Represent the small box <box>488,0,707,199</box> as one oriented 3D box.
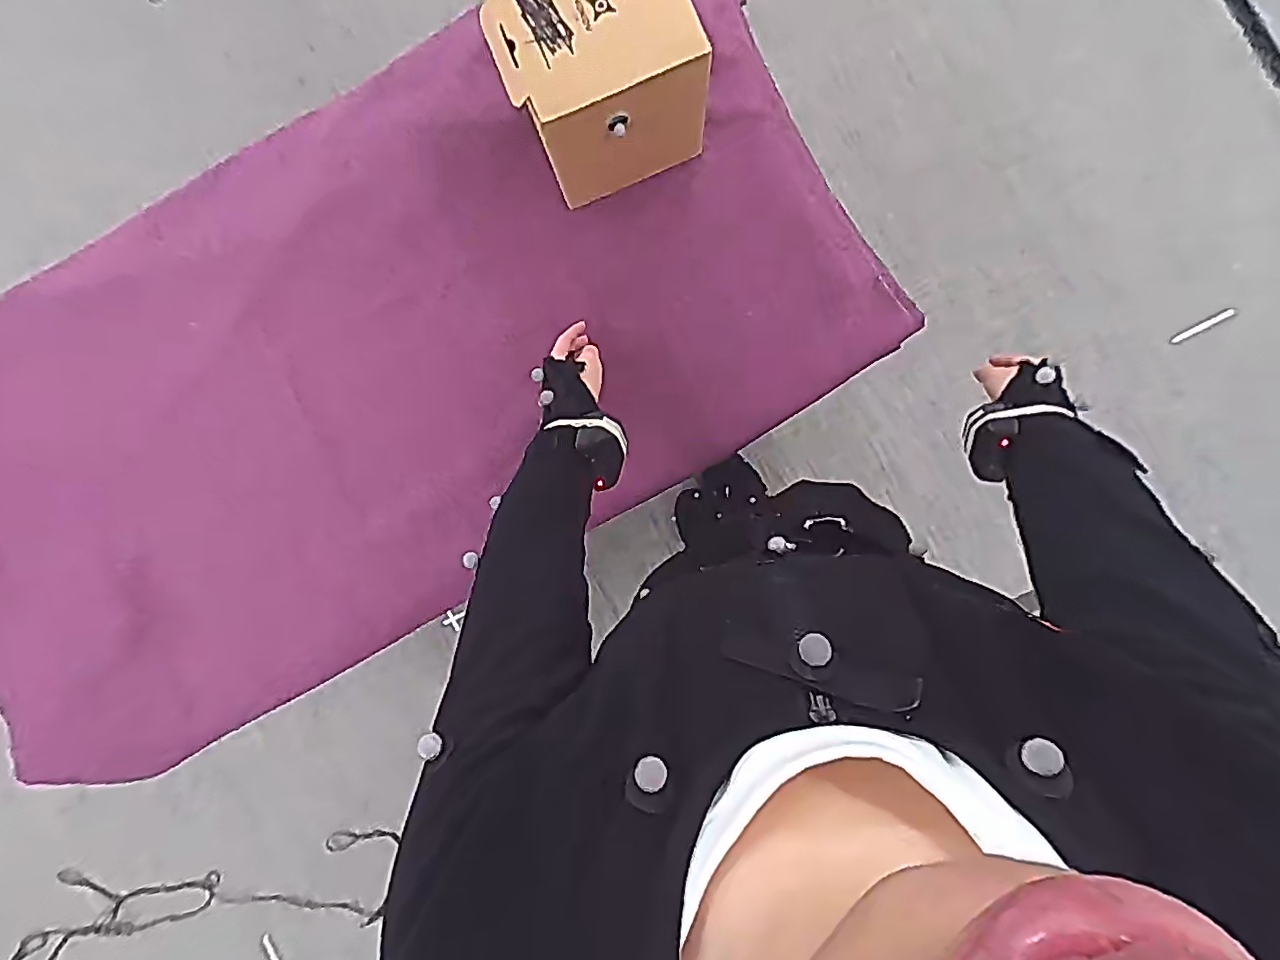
[{"bbox_3d":[-0.040,-0.444,0.585,0.179,0.176,0.168,-22,90,2],"label":"small box"}]
